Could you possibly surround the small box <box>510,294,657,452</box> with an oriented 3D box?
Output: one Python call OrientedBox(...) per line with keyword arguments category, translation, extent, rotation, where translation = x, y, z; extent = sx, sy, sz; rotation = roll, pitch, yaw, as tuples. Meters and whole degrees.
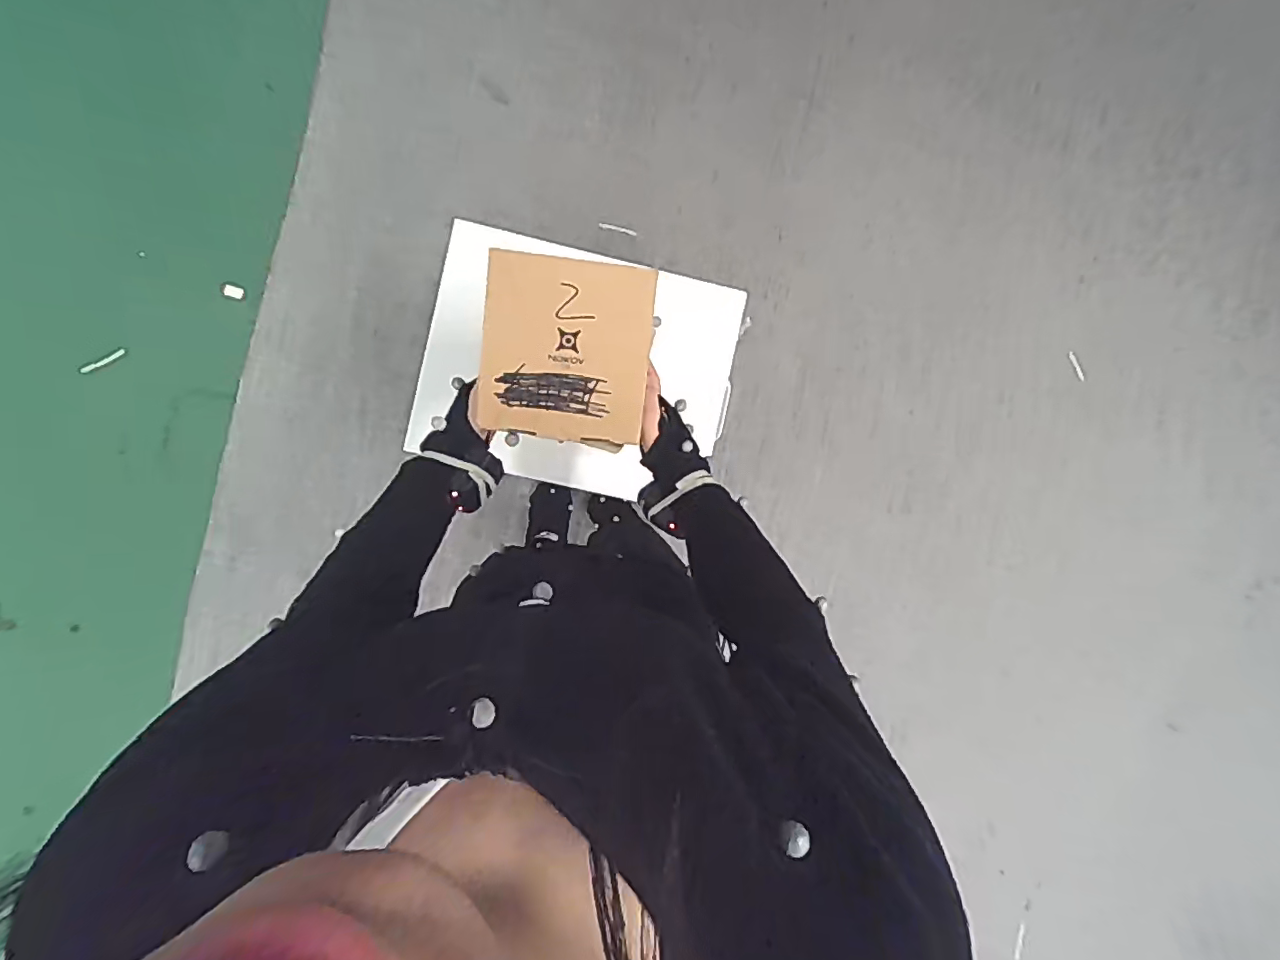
OrientedBox(category="small box", translation=(-0.084, -0.149, 0.819), extent=(0.168, 0.176, 0.179), rotation=(15, 88, -4))
